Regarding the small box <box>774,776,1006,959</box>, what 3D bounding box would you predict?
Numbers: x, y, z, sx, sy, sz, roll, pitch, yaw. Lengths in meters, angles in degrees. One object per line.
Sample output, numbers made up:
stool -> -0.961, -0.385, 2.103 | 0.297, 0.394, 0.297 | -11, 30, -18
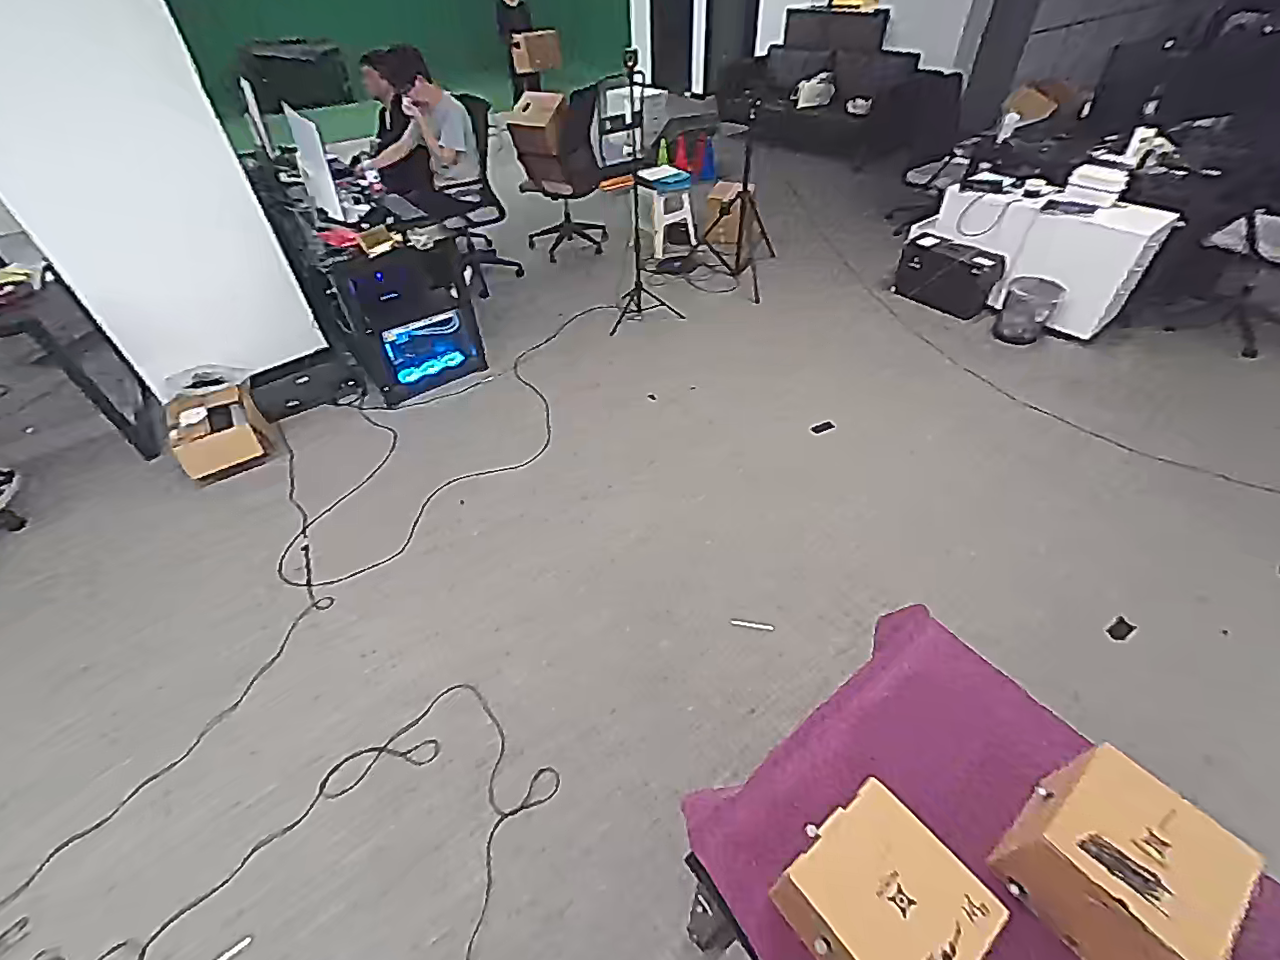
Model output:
small box -> 0.285, 0.512, 0.658 | 0.168, 0.176, 0.179 | -30, 50, -24

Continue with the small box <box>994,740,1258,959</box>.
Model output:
small box -> 0.588, 0.478, 0.680 | 0.179, 0.176, 0.168 | -30, 51, -25
